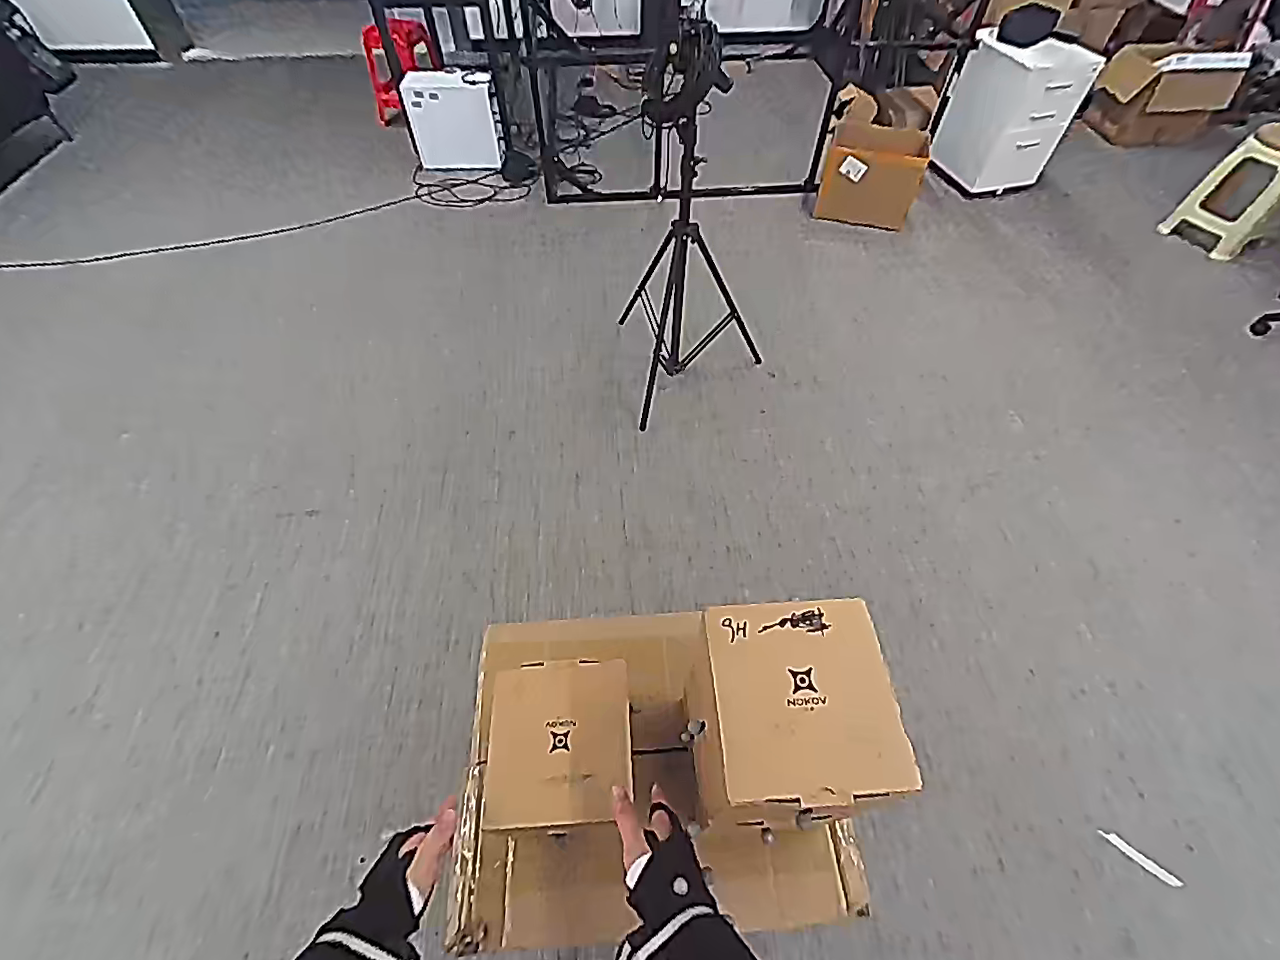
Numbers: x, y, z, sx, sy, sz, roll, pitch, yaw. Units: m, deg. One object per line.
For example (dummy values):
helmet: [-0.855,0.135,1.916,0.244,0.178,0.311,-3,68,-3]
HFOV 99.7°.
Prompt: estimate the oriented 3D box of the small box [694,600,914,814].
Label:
small box: [0.149,0.242,0.565,0.168,0.176,0.179,-3,54,-1]

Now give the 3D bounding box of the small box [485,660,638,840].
small box: [-0.092,0.348,0.693,0.168,0.176,0.179,-4,55,-3]

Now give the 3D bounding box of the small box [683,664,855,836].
small box: [0.148,0.343,0.695,0.168,0.176,0.179,-5,54,-1]
